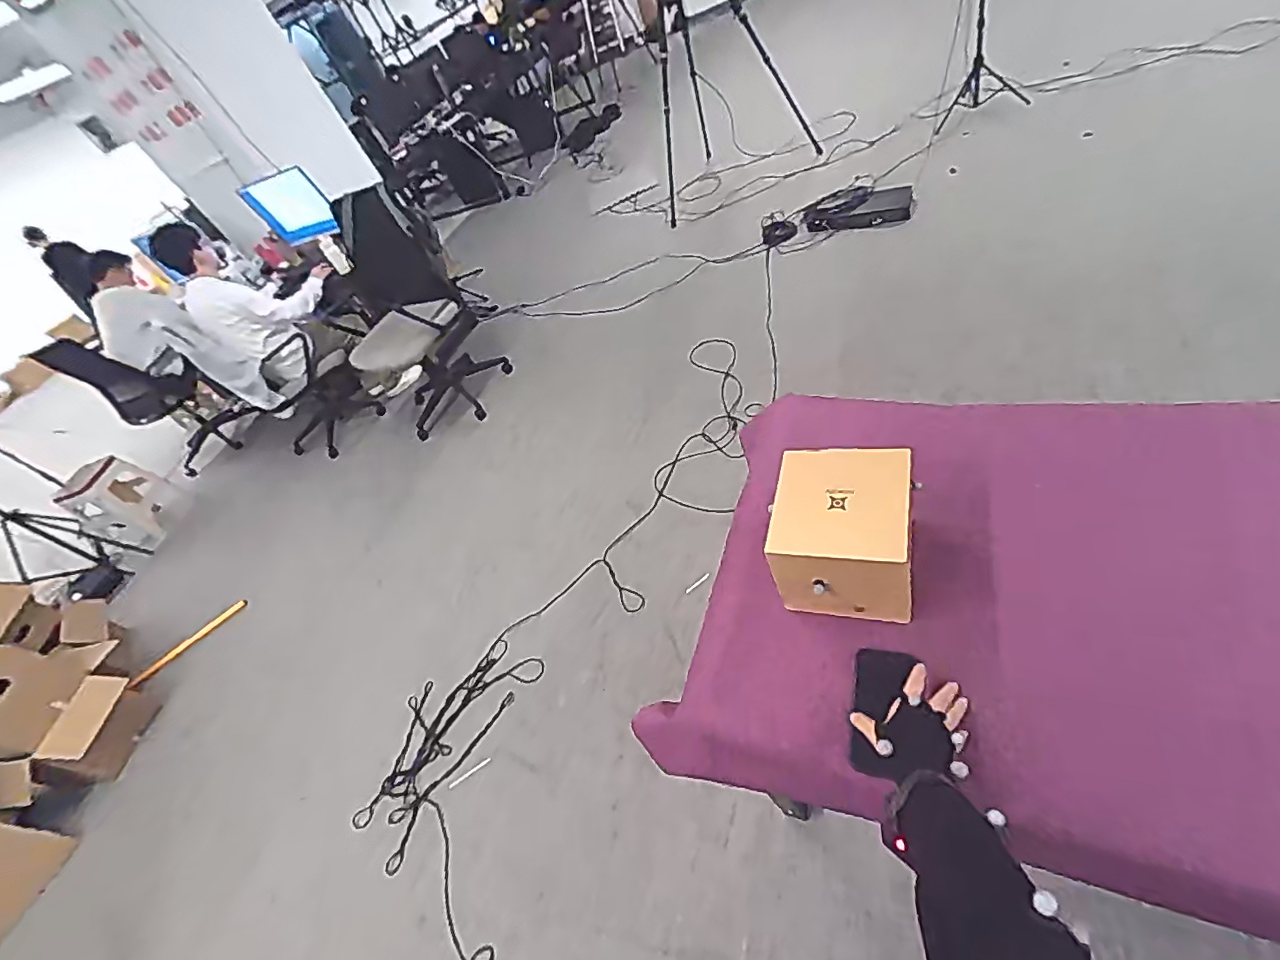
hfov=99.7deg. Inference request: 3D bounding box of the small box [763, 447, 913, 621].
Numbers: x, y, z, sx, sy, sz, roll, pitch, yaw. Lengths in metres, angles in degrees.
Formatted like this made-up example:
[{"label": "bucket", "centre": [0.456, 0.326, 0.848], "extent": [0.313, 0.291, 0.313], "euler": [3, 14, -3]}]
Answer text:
[{"label": "small box", "centre": [0.281, 0.076, 0.746], "extent": [0.168, 0.176, 0.179], "euler": [0, 50, 28]}]
